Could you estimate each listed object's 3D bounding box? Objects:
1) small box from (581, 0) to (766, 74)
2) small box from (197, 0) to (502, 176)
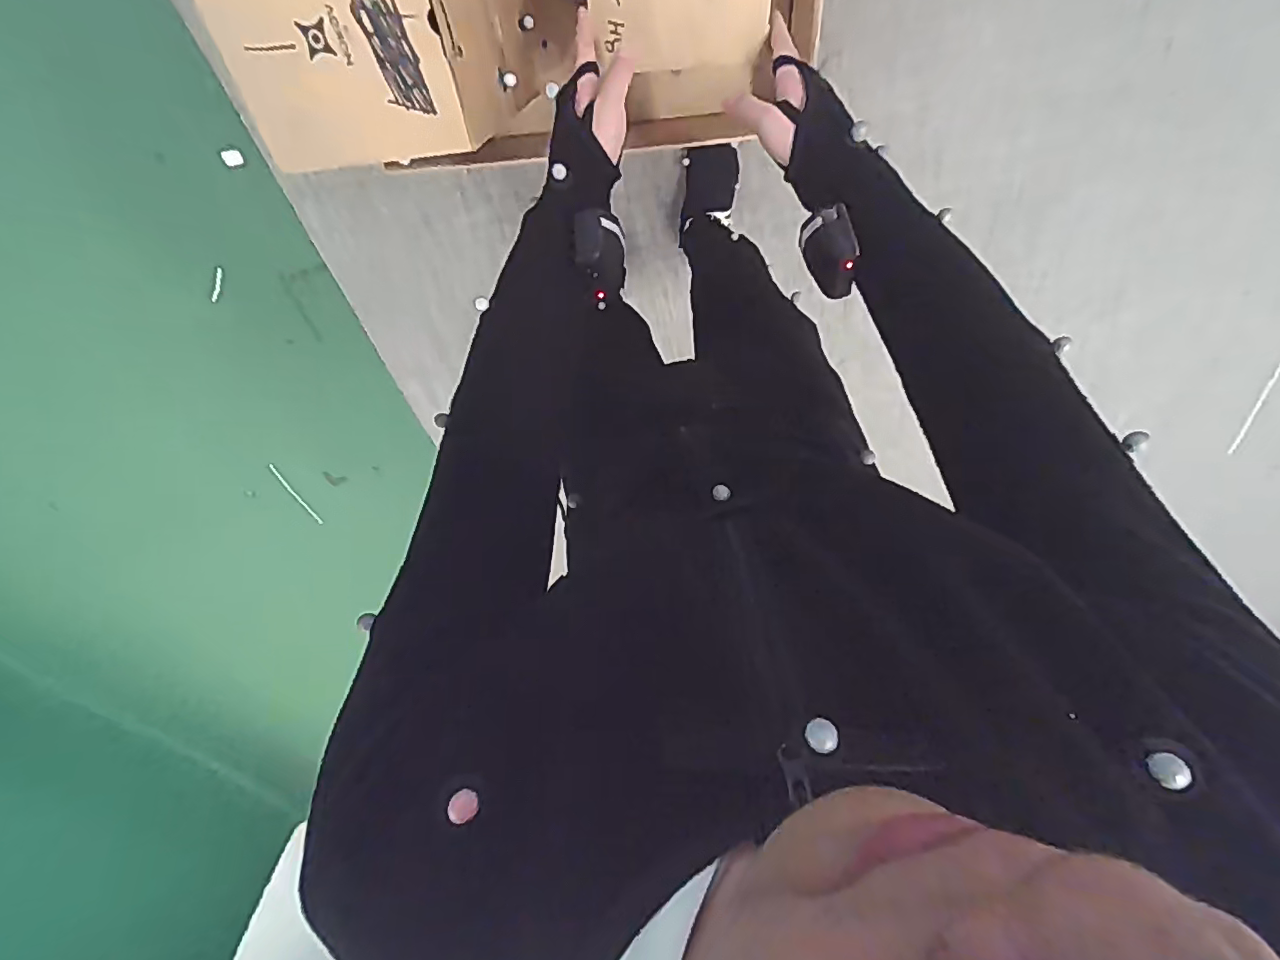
[{"bbox_3d":[0.034,-0.526,0.545,0.179,0.176,0.168,1,134,4],"label":"small box"},{"bbox_3d":[-0.234,-0.389,0.473,0.179,0.176,0.168,-3,133,8],"label":"small box"}]
